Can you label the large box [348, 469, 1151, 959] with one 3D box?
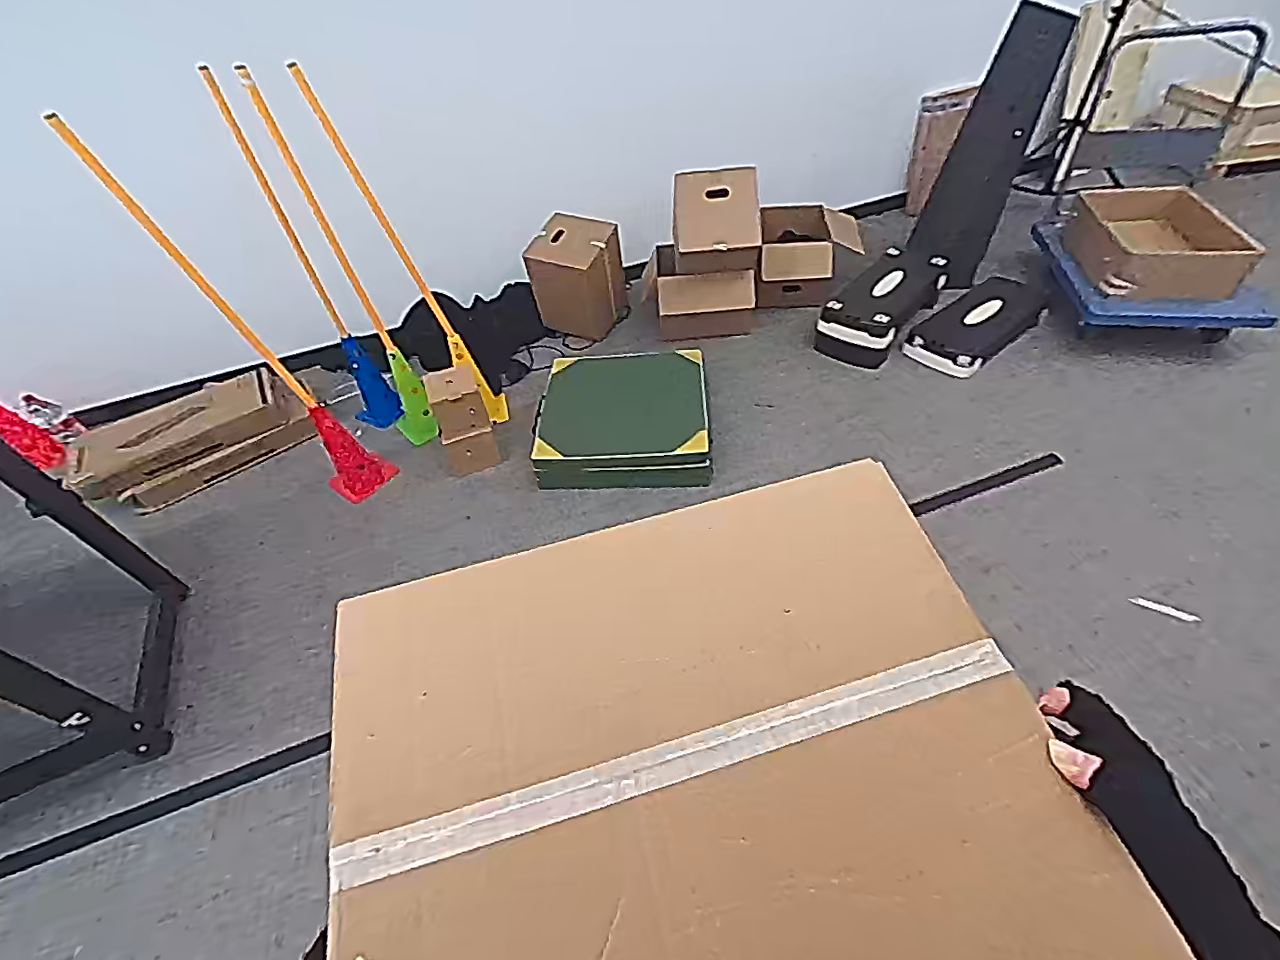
[{"bbox_3d":[0.037,0.243,0.451,0.408,0.320,0.320,-15,58,-6],"label":"large box"}]
